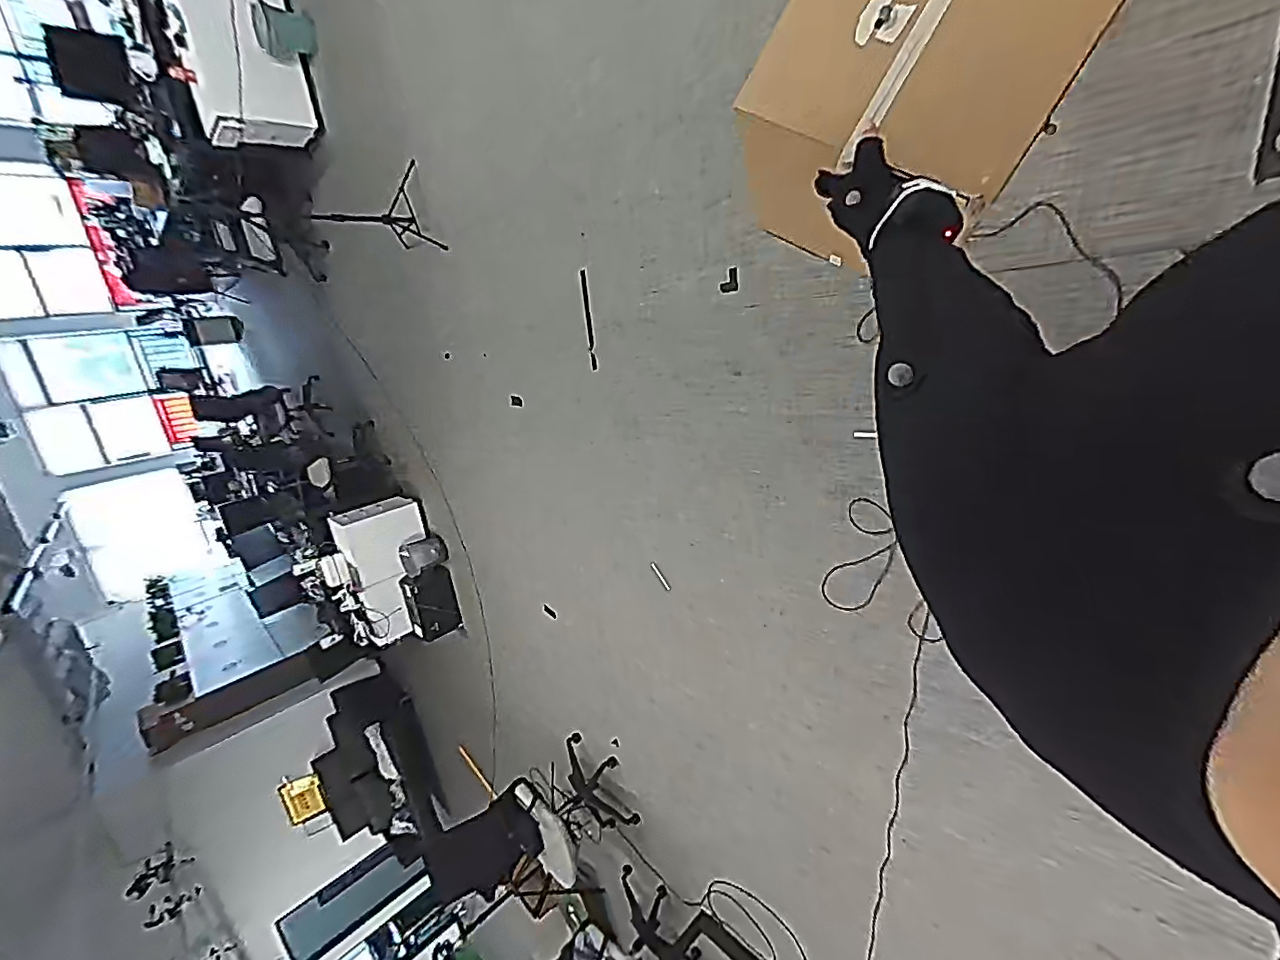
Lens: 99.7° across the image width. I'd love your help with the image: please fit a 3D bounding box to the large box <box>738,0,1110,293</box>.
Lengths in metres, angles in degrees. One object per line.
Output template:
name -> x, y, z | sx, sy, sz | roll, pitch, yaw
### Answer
large box -> 0.383, -0.542, 0.738 | 0.320, 0.320, 0.408 | 32, 100, 16
